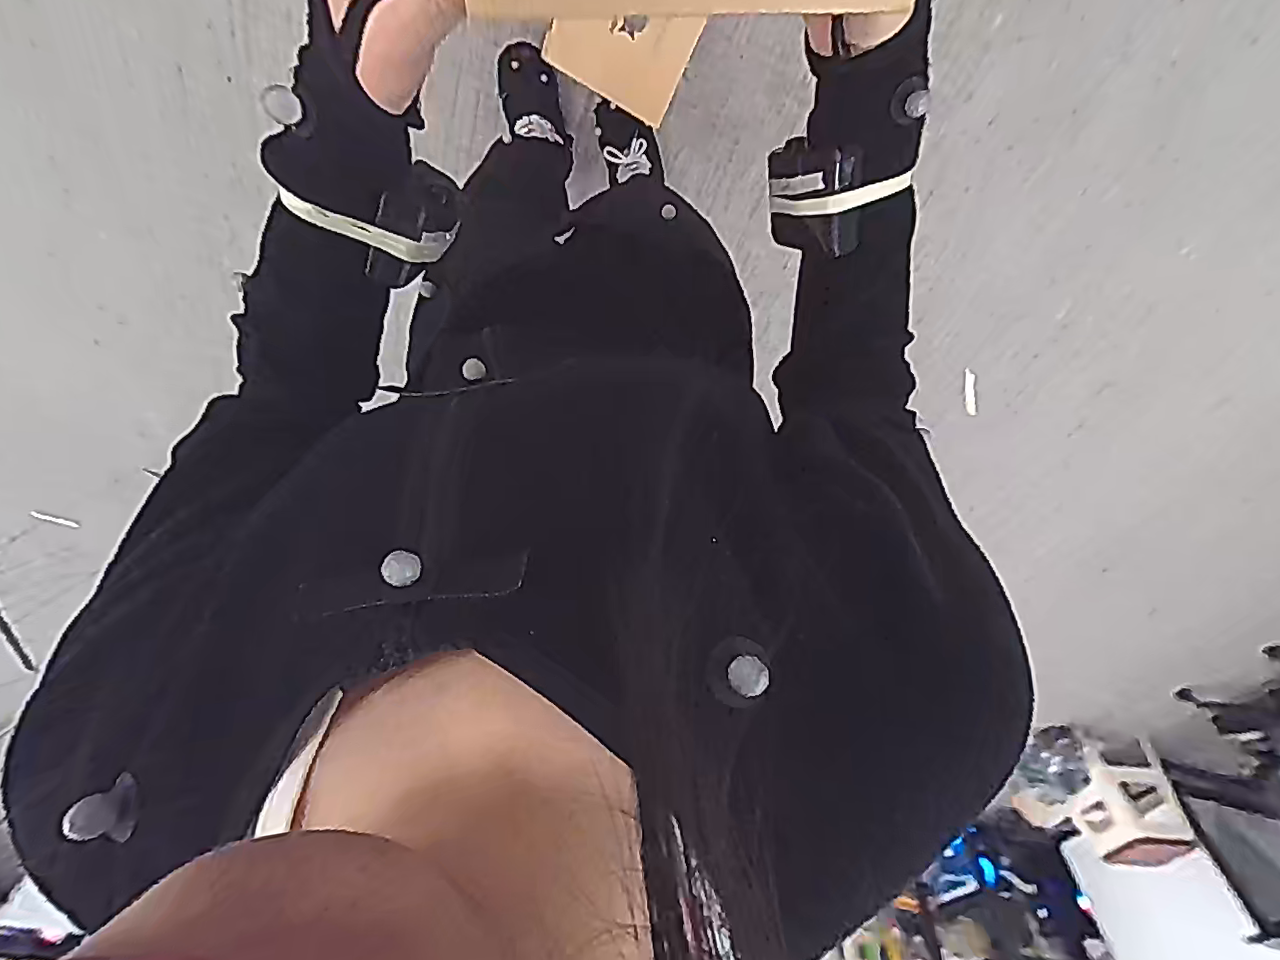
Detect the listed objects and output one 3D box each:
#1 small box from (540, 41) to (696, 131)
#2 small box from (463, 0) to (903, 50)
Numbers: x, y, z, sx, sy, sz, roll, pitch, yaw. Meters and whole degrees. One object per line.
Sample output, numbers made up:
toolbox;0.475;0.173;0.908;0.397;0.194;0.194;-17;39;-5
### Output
small box;-0.016;-0.620;0.745;0.179;0.176;0.168;23;128;-15
small box;0.004;-0.281;0.197;0.168;0.176;0.179;-8;136;-5
